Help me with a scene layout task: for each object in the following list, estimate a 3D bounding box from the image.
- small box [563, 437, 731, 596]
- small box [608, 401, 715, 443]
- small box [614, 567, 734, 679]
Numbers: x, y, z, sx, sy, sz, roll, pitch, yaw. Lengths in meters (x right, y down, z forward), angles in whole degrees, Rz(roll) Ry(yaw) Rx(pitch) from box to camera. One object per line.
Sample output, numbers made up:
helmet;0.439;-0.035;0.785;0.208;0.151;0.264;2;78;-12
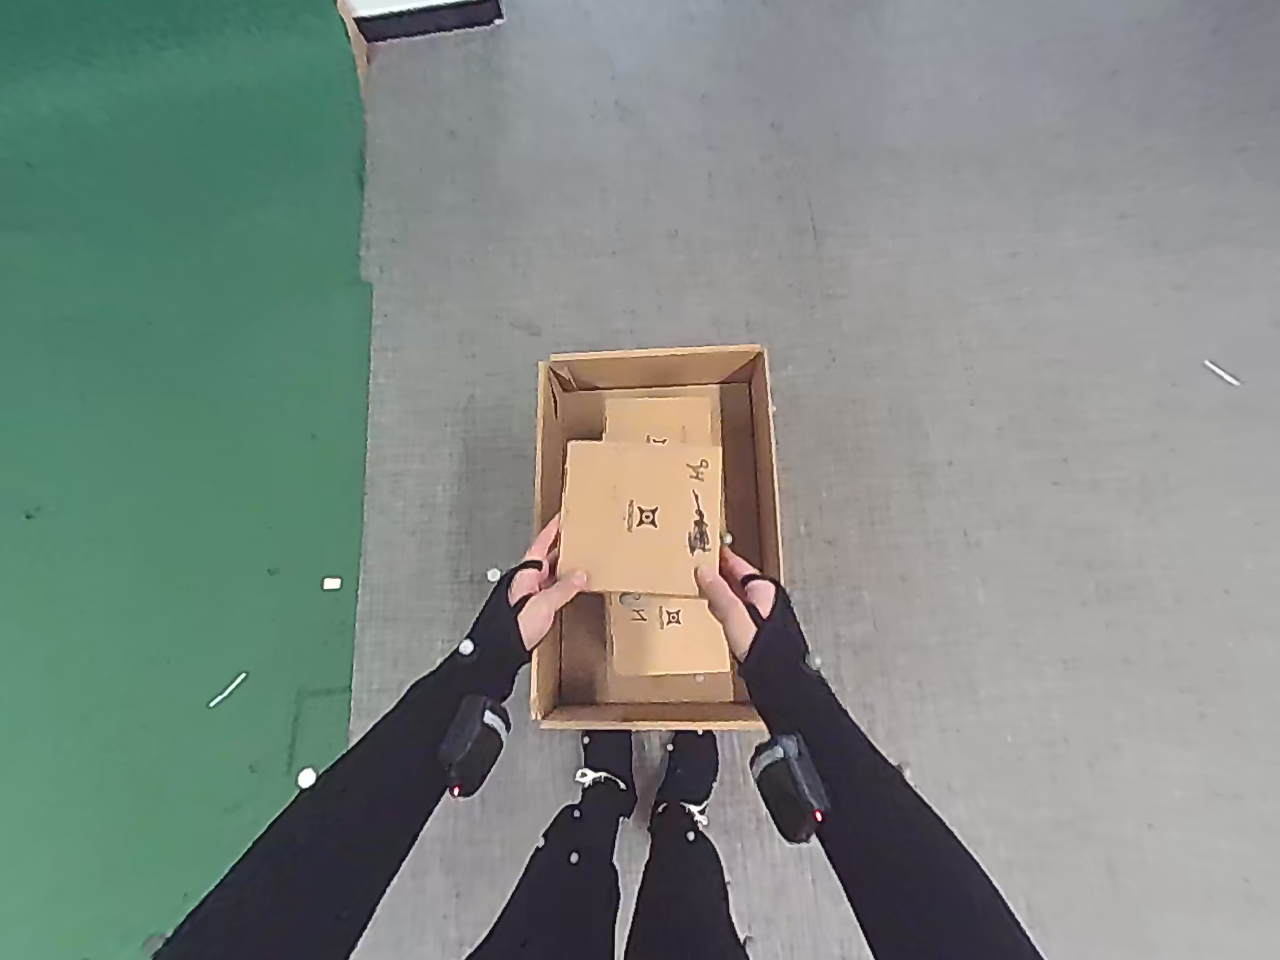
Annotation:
small box;0.015;0.053;0.665;0.179;0.176;0.168;3;78;5
small box;0.039;-0.032;0.949;0.179;0.176;0.168;1;78;3
small box;0.052;0.228;0.886;0.179;0.176;0.168;-3;76;3
